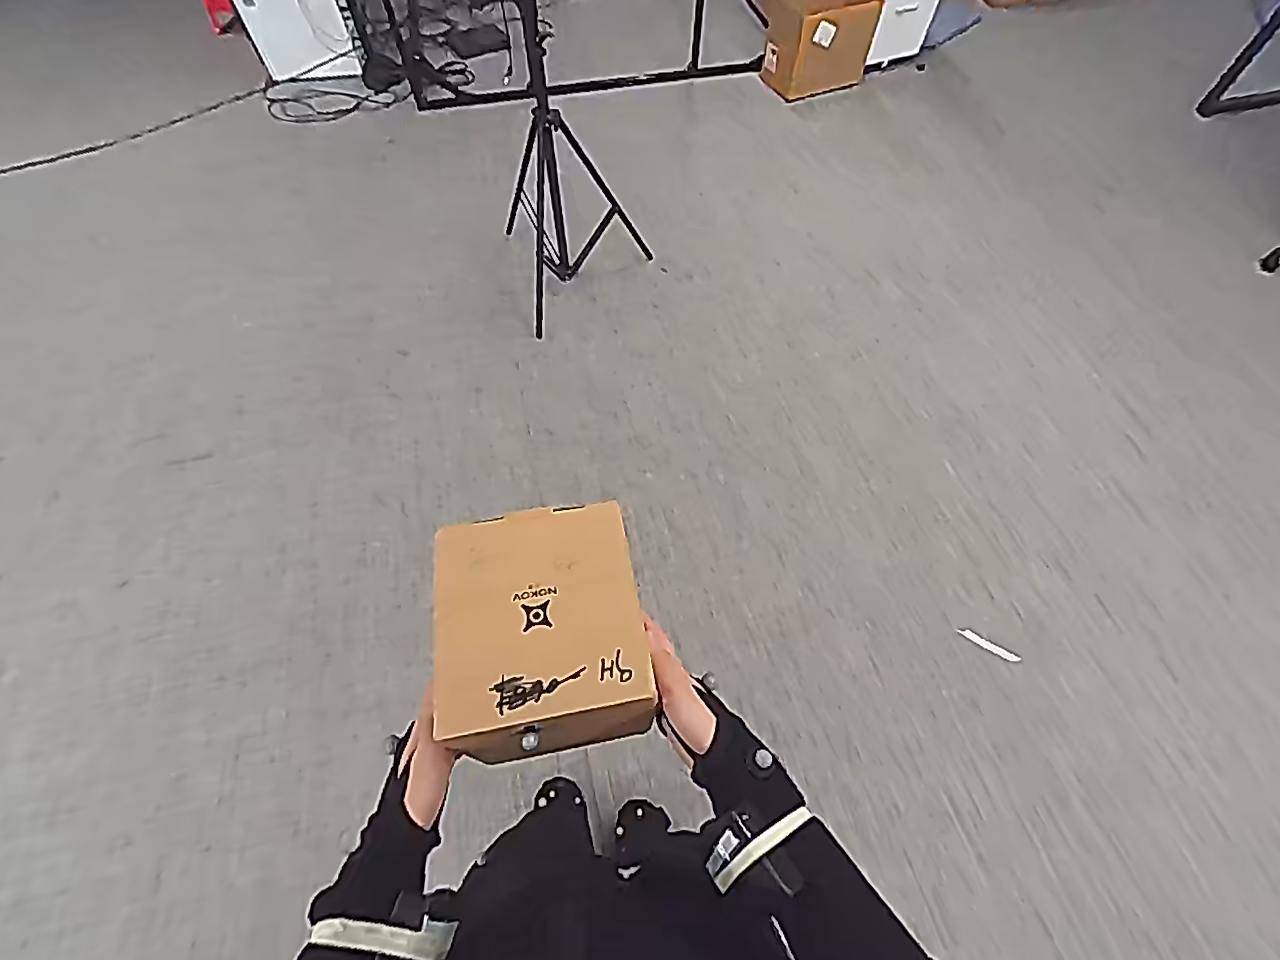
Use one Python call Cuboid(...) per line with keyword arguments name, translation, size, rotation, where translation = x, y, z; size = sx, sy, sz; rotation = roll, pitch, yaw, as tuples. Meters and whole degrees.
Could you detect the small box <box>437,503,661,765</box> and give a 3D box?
Cuboid(name="small box", translation=(-0.082, 0.147, 0.505), size=(0.168, 0.176, 0.179), rotation=(-9, 57, -7))
